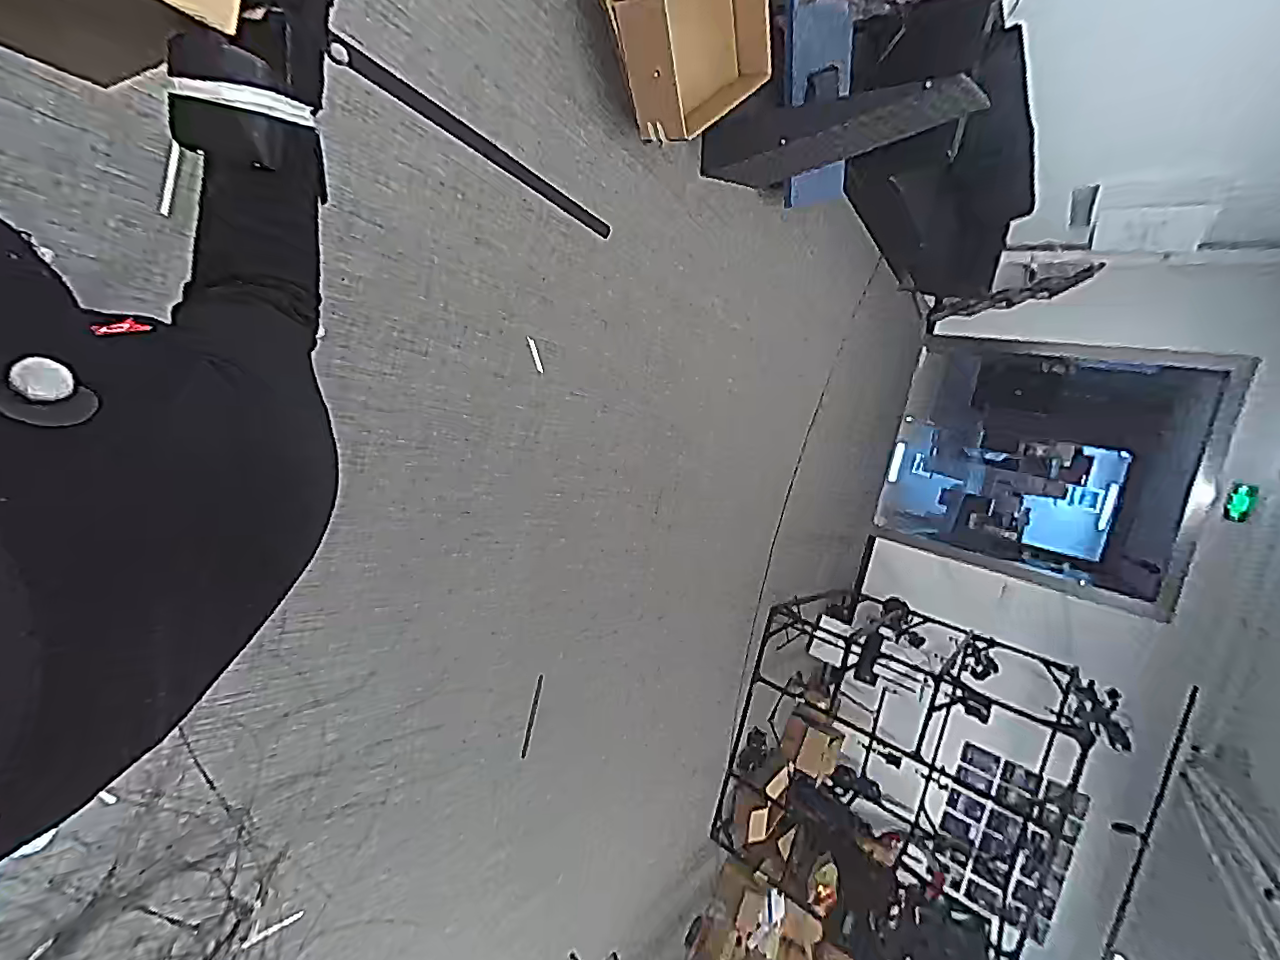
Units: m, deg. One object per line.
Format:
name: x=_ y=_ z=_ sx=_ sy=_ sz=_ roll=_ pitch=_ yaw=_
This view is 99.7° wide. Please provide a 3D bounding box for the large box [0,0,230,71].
large box: x=-0.454 y=-0.462 z=0.222 sx=0.408 sy=0.320 sz=0.320 roll=-3 pitch=110 yaw=-56
